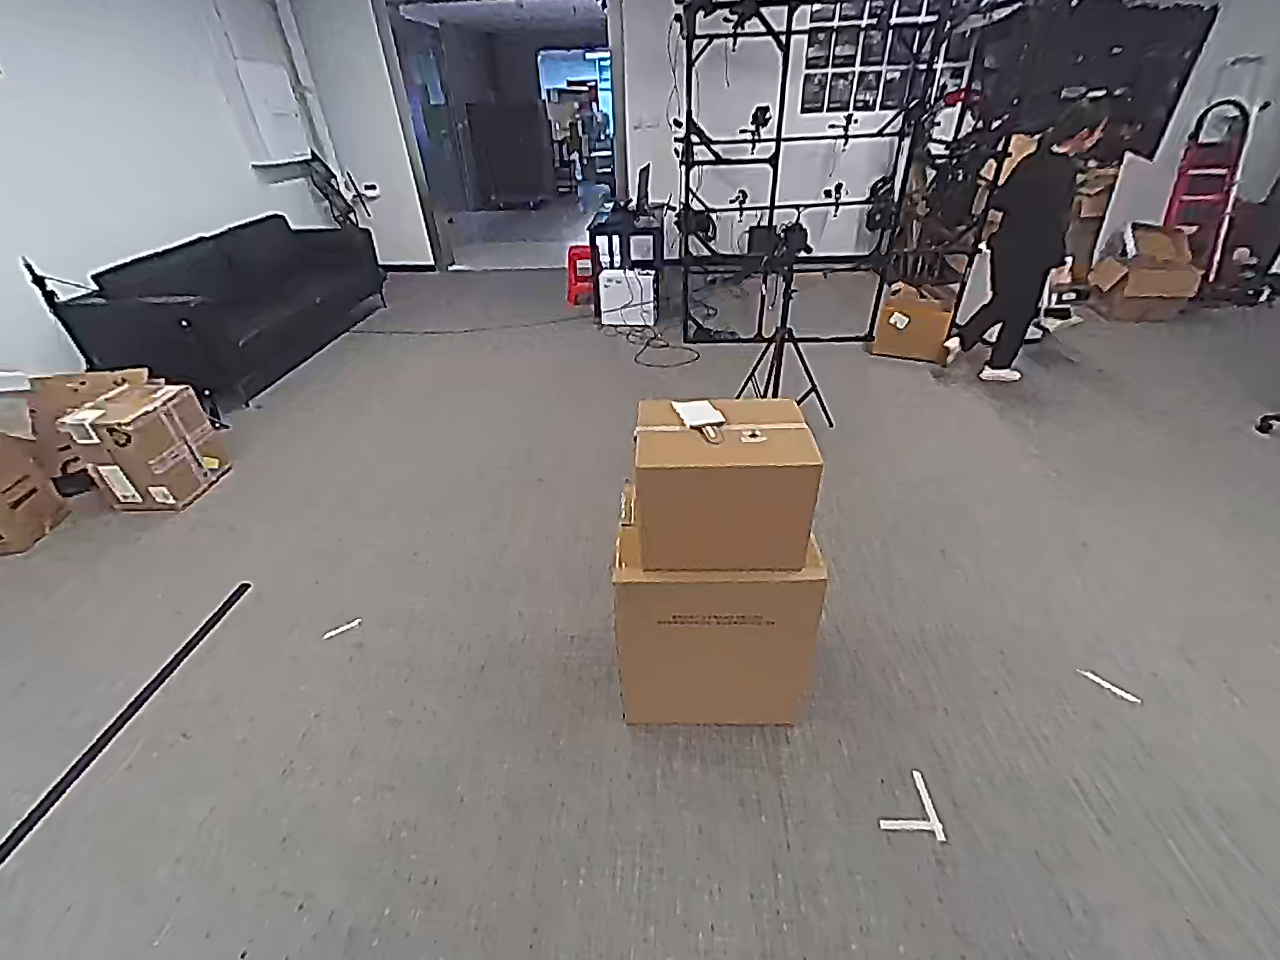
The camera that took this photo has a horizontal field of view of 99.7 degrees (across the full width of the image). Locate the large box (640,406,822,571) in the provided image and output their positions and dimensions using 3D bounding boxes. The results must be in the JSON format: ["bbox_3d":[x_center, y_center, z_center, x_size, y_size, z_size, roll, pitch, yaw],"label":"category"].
[{"bbox_3d":[0.201,0.018,1.378,0.408,0.320,0.320,0,35,2],"label":"large box"}]
